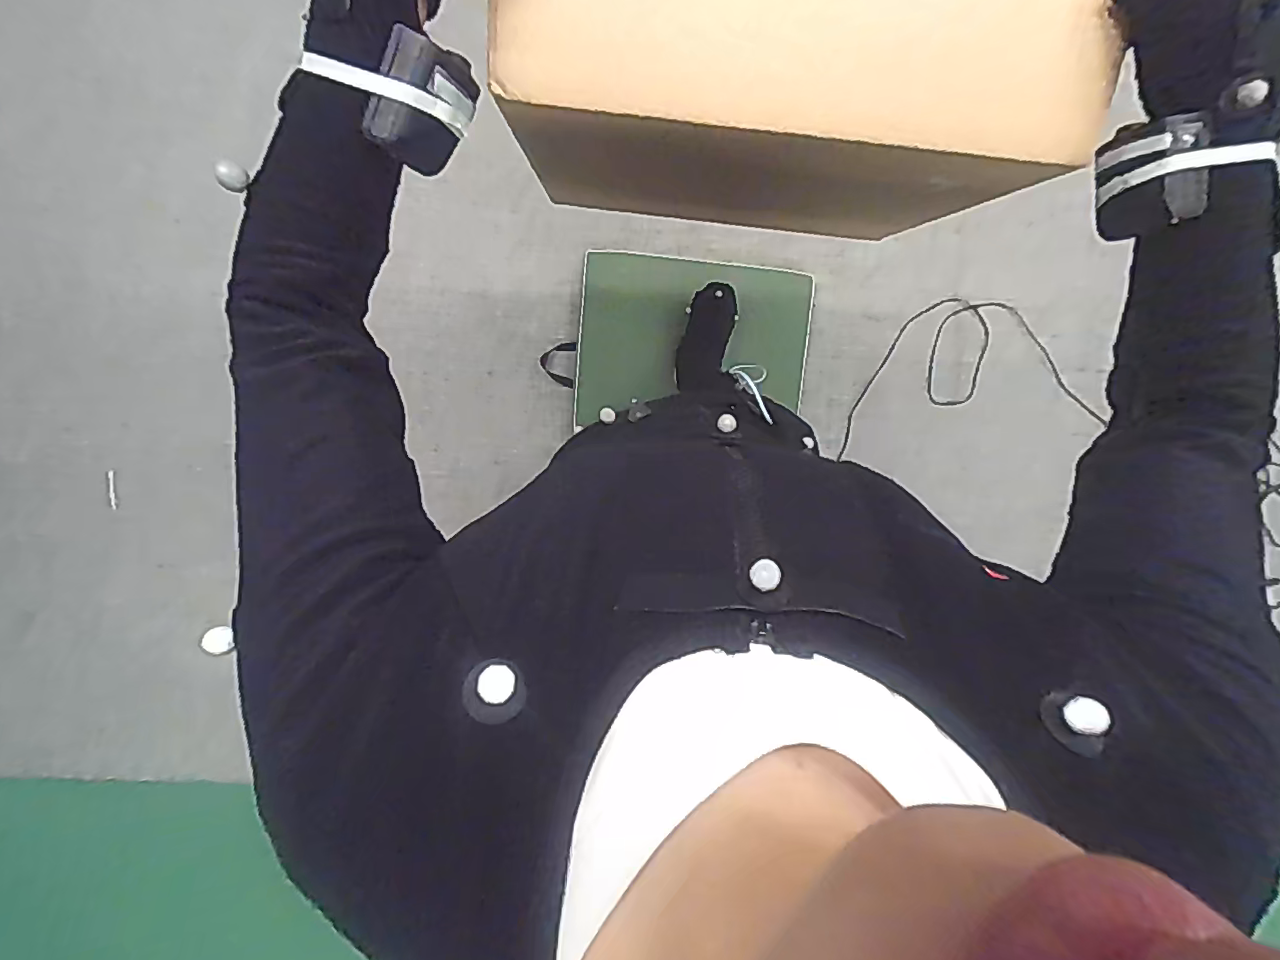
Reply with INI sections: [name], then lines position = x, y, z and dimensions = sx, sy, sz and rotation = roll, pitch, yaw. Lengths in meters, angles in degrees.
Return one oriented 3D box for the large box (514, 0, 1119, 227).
[large box]
position = 0.115, -0.428, 0.472
dimensions = 0.408, 0.320, 0.320
rotation = 4, 106, -4
